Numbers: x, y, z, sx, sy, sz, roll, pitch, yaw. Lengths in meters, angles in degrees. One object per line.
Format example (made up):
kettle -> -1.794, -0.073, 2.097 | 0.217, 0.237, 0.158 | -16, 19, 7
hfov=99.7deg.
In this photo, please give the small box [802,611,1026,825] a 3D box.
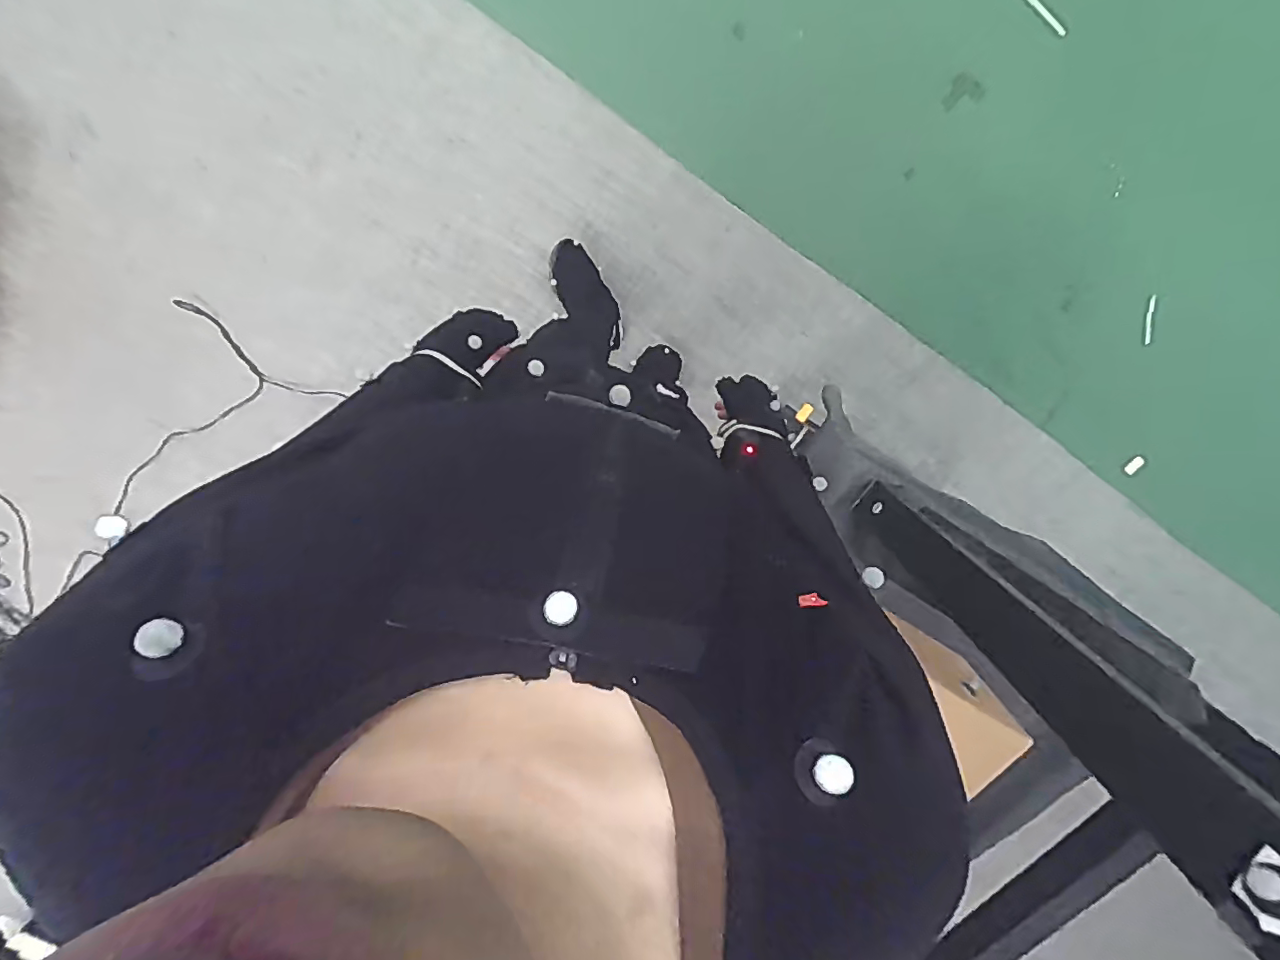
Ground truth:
small box -> 0.353, 0.310, 0.735 | 0.179, 0.176, 0.168 | 31, 105, -8
